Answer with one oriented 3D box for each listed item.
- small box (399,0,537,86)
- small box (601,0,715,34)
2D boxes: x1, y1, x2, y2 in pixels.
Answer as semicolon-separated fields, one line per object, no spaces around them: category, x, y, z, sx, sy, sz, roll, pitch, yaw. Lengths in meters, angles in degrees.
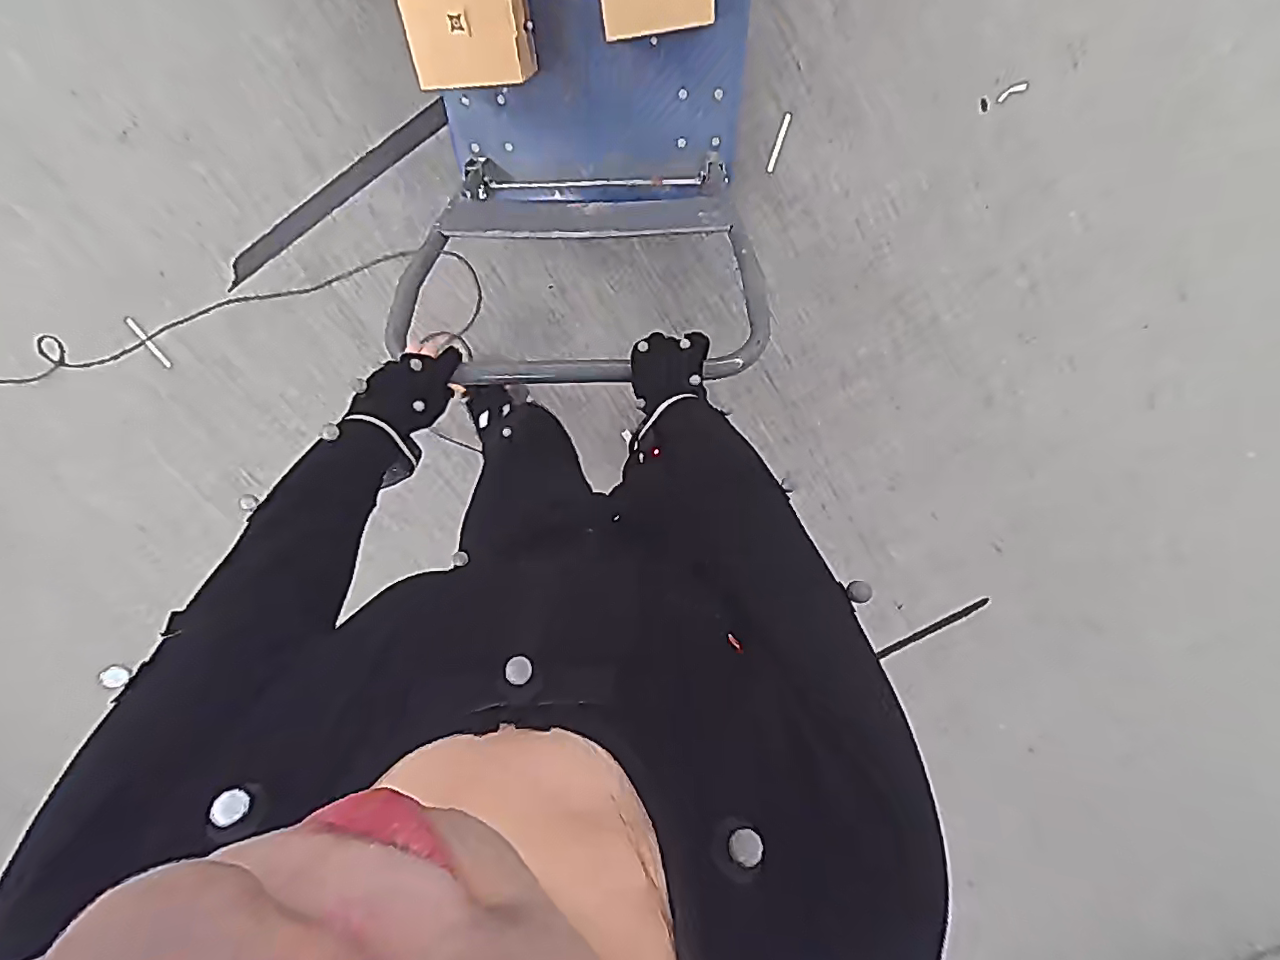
small box;-0.281;-0.771;0.901;0.179;0.176;0.168;-4;132;2
small box;0.023;-0.823;0.851;0.179;0.176;0.168;-5;132;5
